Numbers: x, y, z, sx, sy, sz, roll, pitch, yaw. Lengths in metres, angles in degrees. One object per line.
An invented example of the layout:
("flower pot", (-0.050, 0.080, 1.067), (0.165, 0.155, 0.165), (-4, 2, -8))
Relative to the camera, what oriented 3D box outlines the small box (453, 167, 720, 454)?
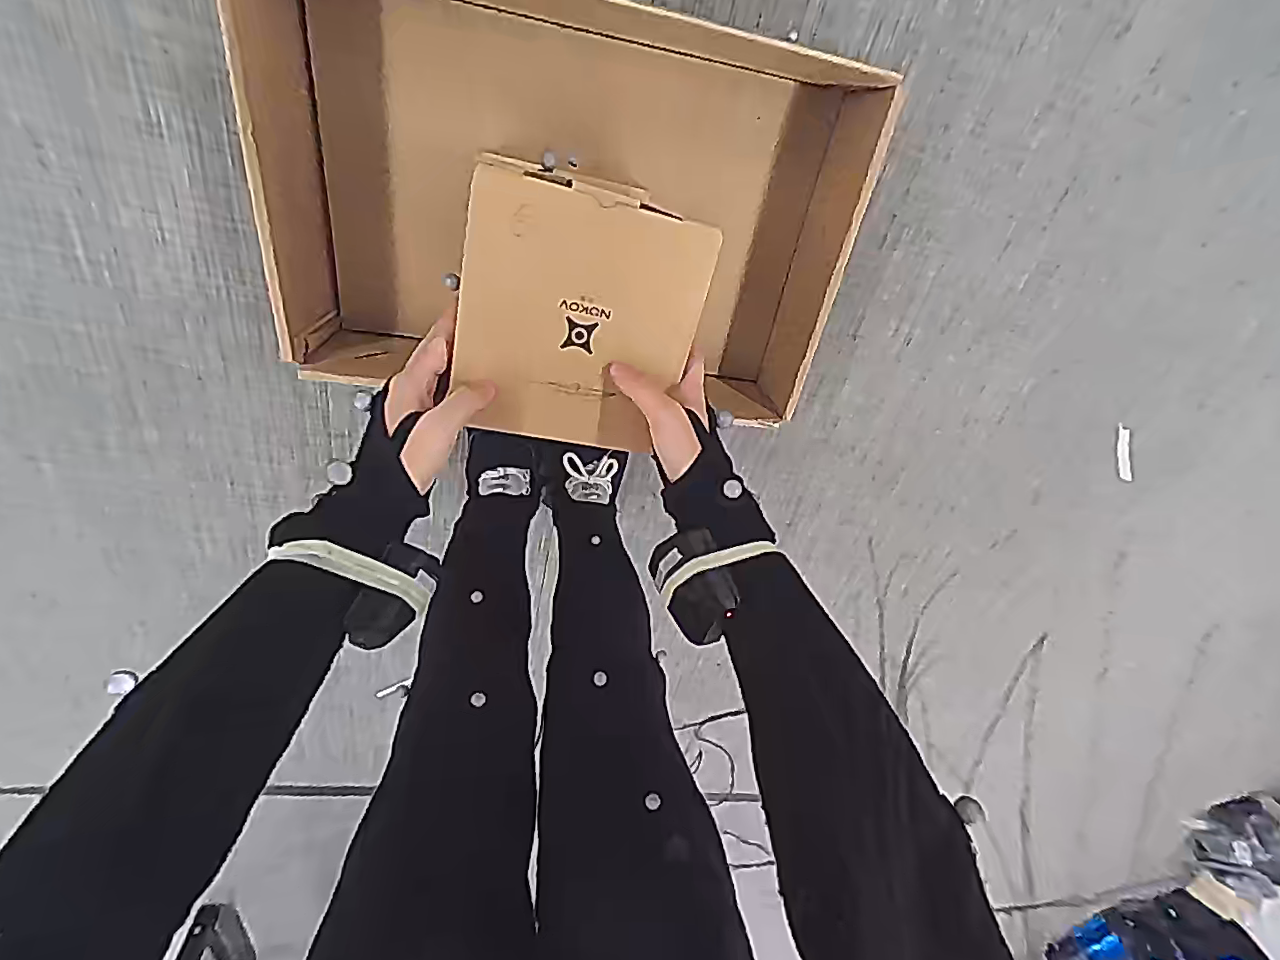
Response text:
("small box", (-0.056, -0.146, 0.455), (0.168, 0.176, 0.179), (8, 119, -15))
